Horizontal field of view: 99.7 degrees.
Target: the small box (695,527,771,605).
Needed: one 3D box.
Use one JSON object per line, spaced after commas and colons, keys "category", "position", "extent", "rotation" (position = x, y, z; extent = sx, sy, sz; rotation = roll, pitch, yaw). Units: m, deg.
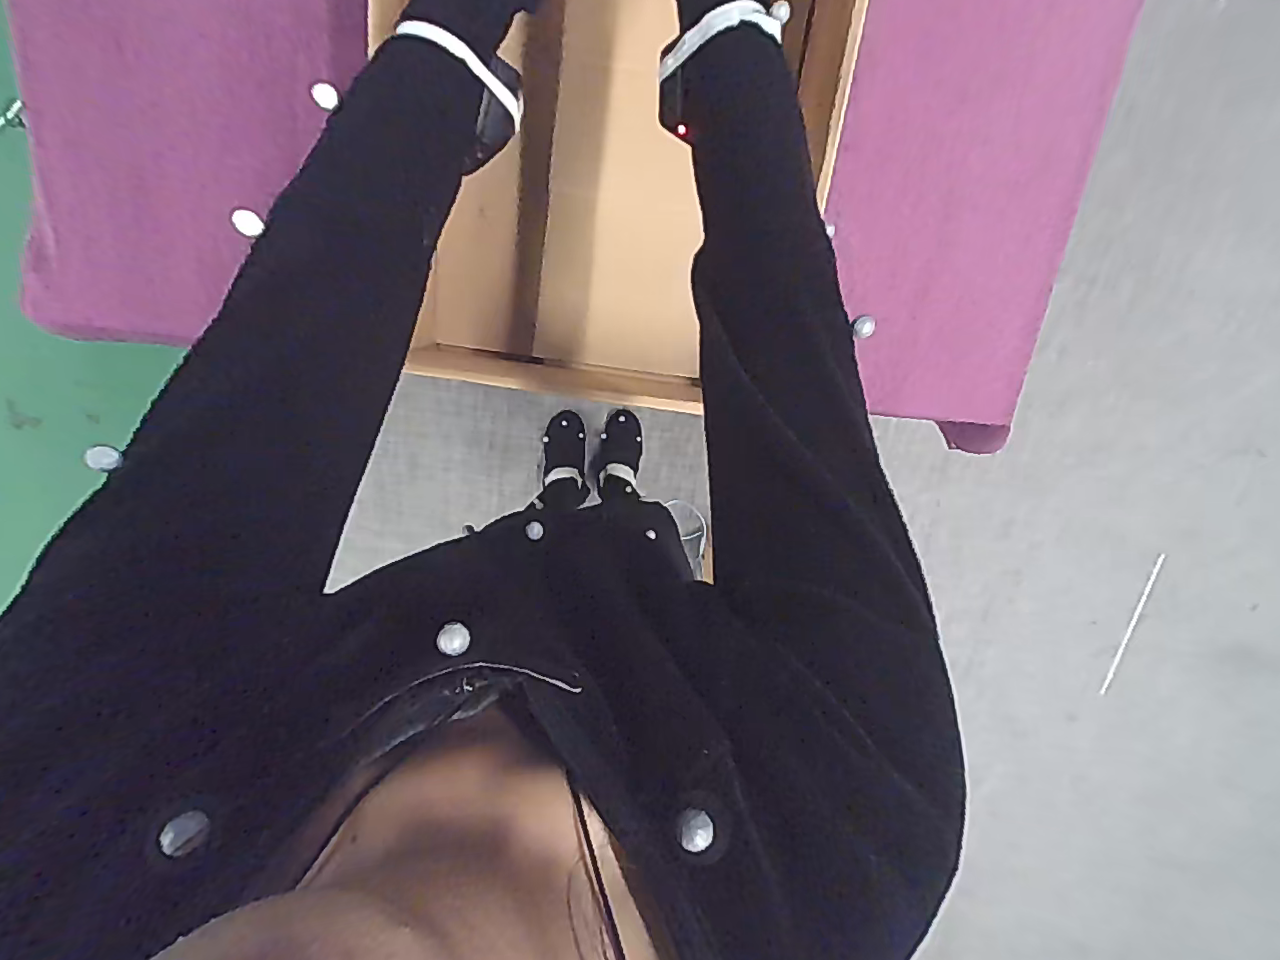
{"category": "small box", "position": [0.250, 0.234, 1.497], "extent": [0.179, 0.176, 0.168], "rotation": [0, 106, -2]}
